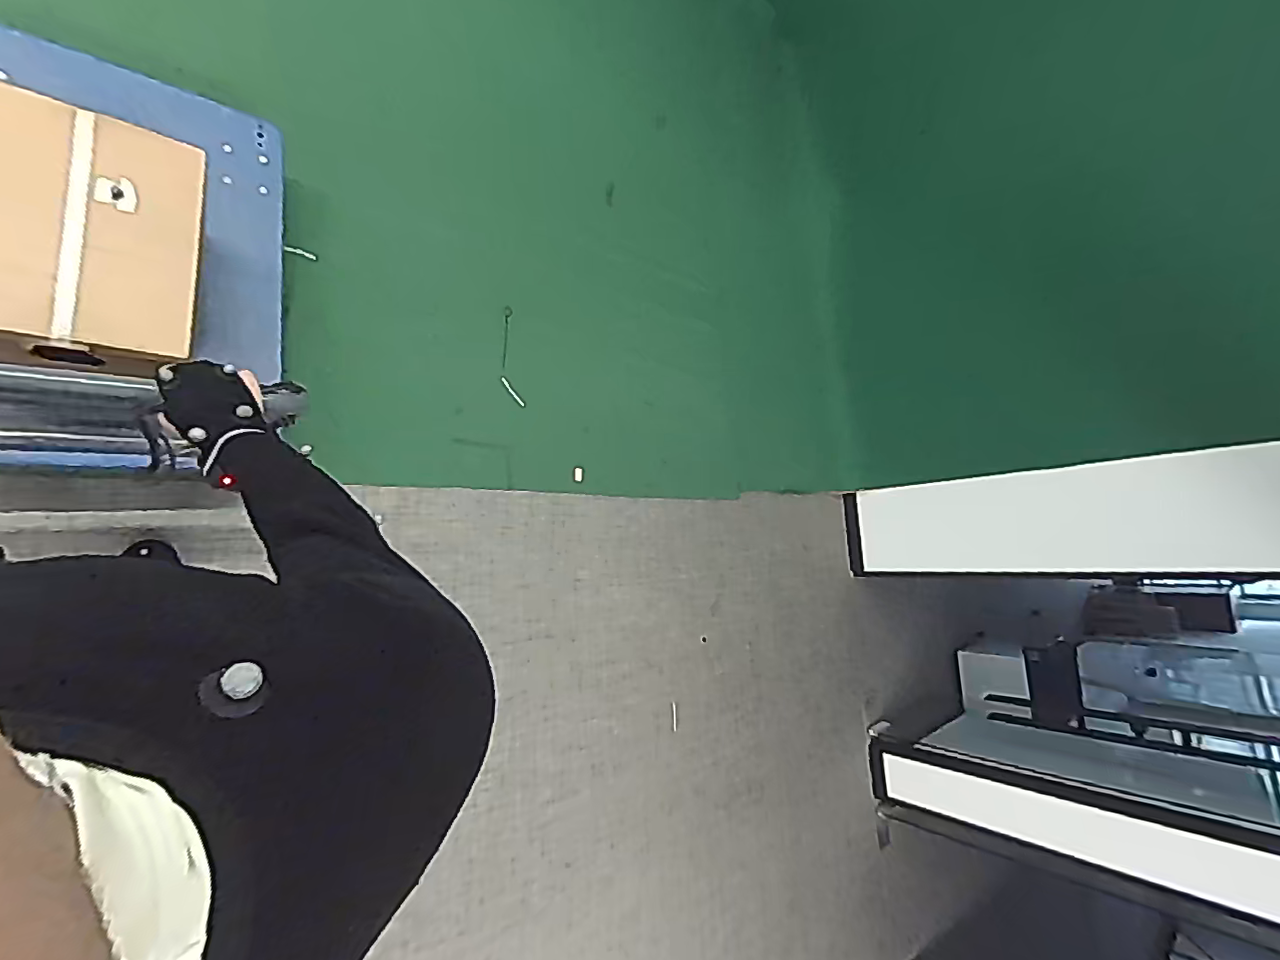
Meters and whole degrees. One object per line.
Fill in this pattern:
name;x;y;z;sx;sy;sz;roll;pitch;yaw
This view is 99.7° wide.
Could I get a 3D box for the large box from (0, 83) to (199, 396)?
large box;-1.015;-0.398;0.987;0.320;0.320;0.408;4;79;-39
